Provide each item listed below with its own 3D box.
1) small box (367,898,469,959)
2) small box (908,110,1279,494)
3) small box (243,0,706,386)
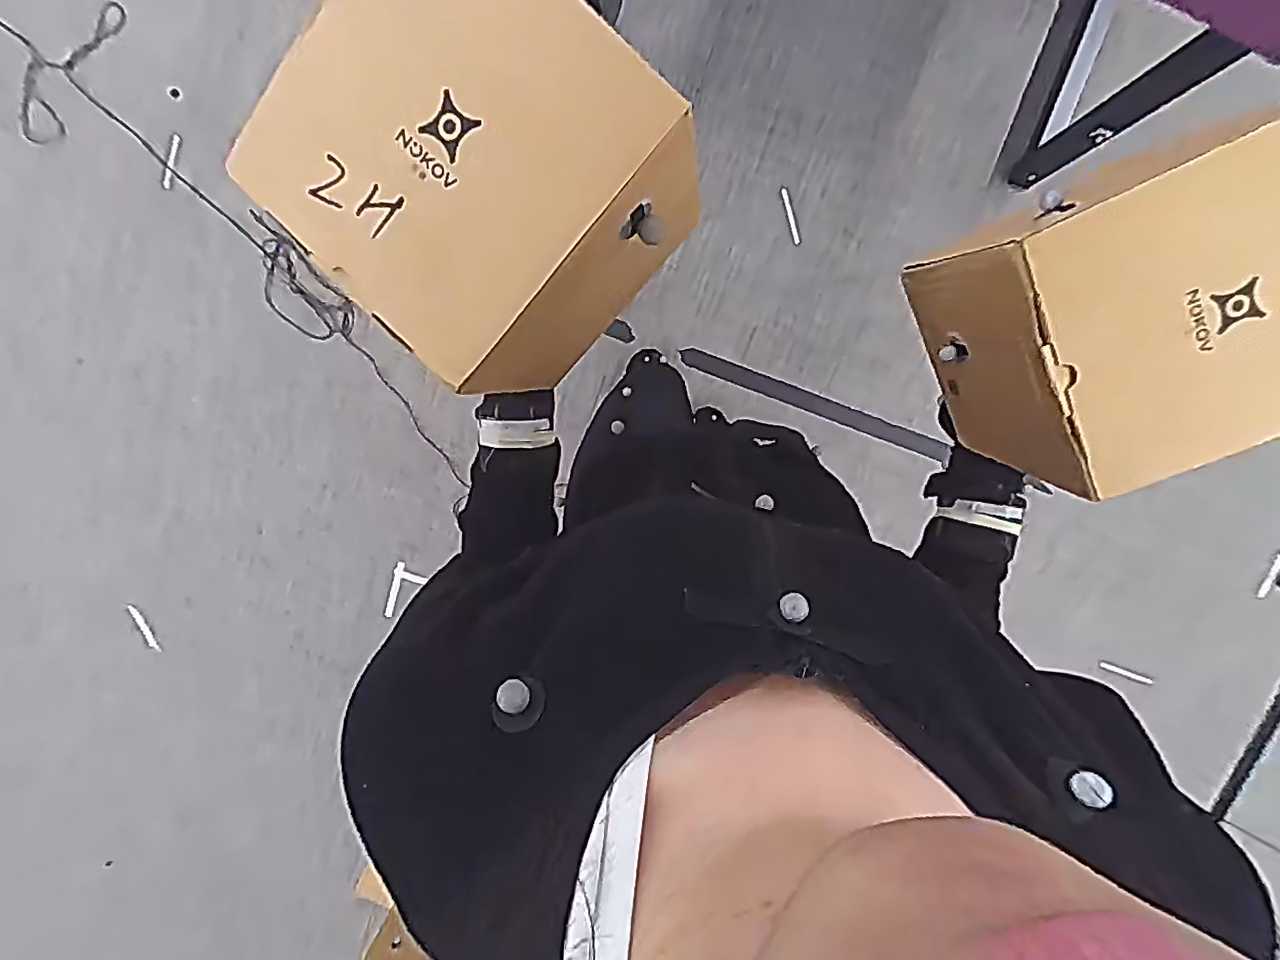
[{"bbox_3d":[-0.464,1.009,1.104,0.168,0.176,0.179,13,99,2],"label":"small box"},{"bbox_3d":[0.323,-0.118,0.372,0.179,0.176,0.168,-24,103,11],"label":"small box"},{"bbox_3d":[-0.076,-0.178,0.335,0.168,0.176,0.179,44,104,-1],"label":"small box"}]
